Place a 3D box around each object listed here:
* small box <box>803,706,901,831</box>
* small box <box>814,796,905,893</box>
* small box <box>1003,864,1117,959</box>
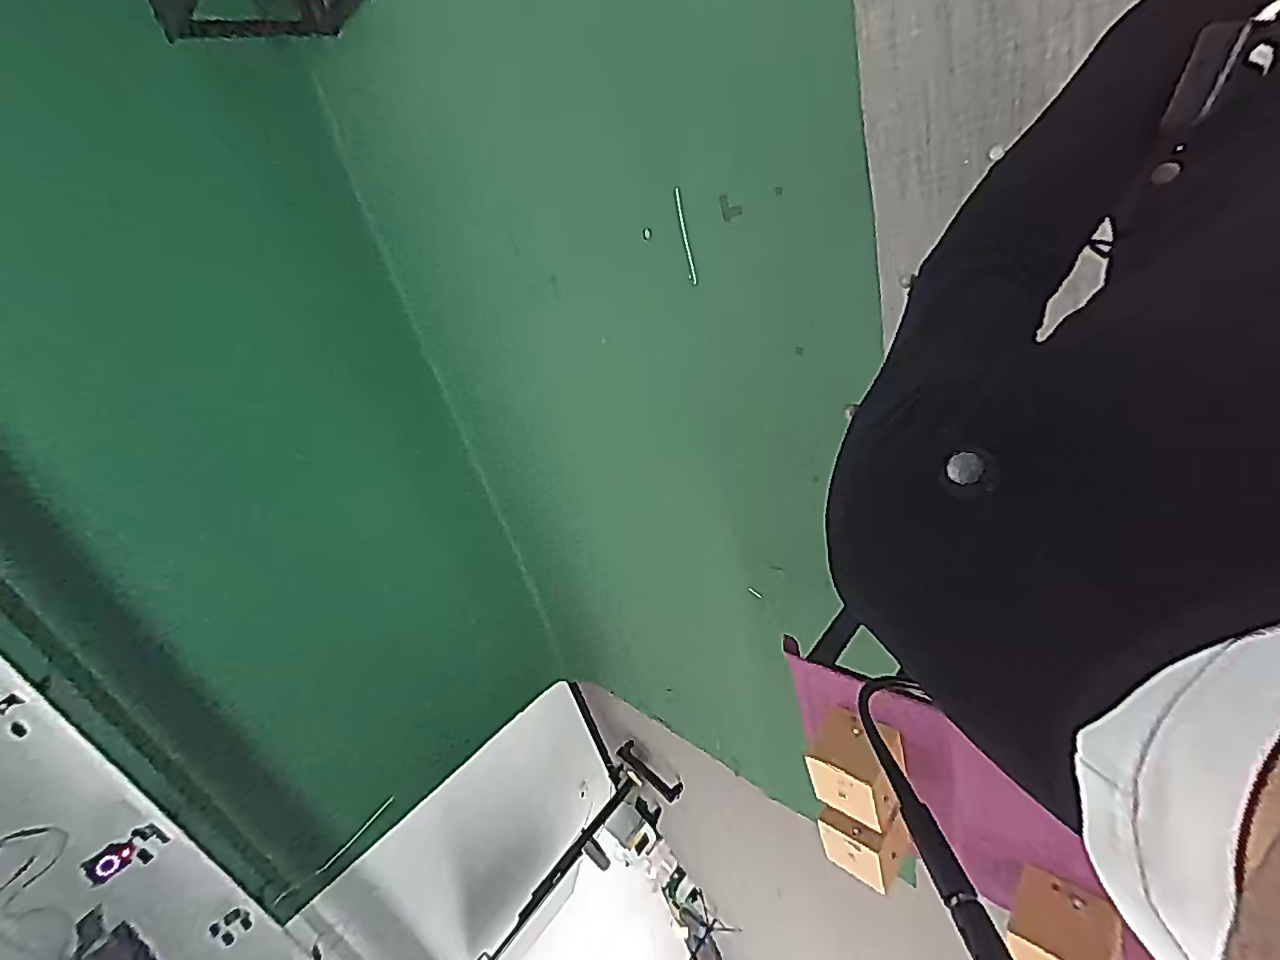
[{"bbox_3d":[0.528,0.703,1.334,0.168,0.176,0.179,7,124,45],"label":"small box"},{"bbox_3d":[0.596,0.940,1.454,0.168,0.176,0.179,6,123,46],"label":"small box"},{"bbox_3d":[0.891,0.977,1.145,0.168,0.176,0.179,5,121,46],"label":"small box"}]
